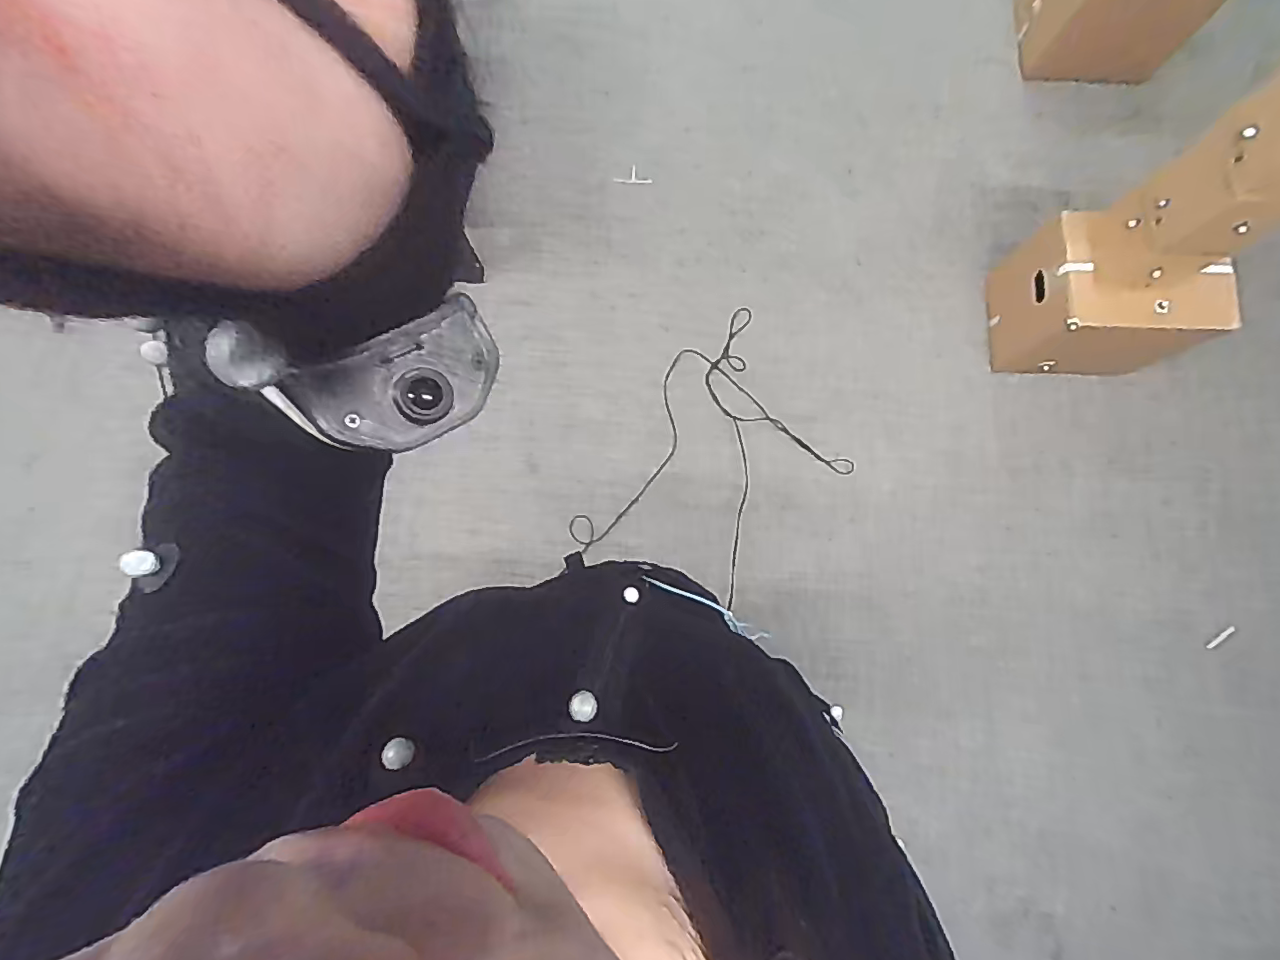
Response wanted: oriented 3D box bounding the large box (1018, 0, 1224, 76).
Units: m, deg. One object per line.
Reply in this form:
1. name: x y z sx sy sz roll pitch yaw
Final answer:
1. large box: 1.459 -1.492 1.641 0.408 0.320 0.320 3 81 0

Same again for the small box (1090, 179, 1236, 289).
1. small box: 1.190 -0.559 1.245 0.168 0.176 0.179 1 79 1
